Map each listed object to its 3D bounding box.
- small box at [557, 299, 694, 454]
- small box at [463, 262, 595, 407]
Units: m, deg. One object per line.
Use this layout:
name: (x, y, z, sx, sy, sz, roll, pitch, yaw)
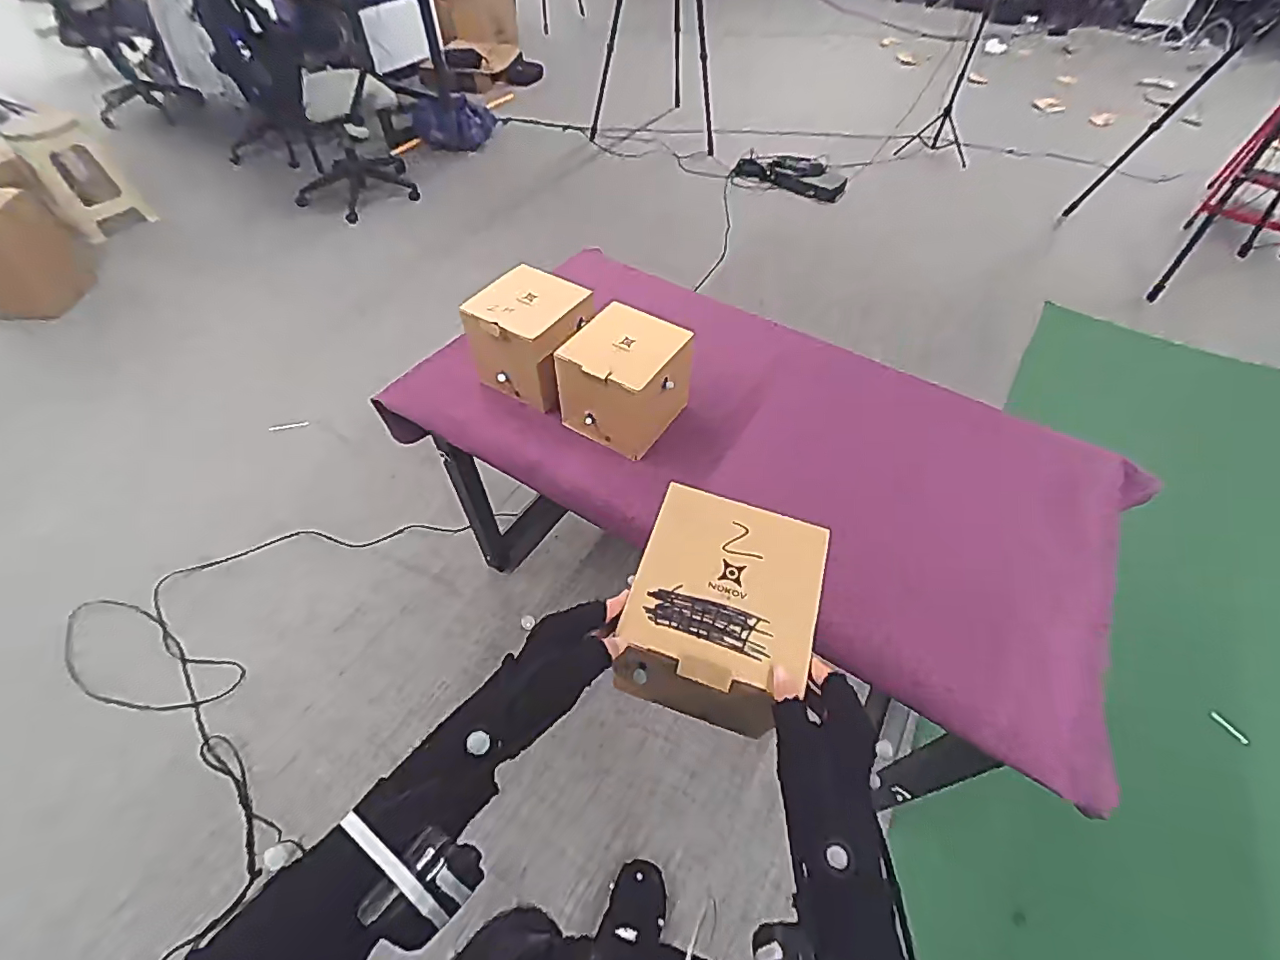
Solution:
small box: (-0.025, -0.180, 0.954, 0.168, 0.176, 0.179, 28, 58, 19)
small box: (-0.199, -0.273, 1.019, 0.168, 0.176, 0.179, 27, 57, 19)
